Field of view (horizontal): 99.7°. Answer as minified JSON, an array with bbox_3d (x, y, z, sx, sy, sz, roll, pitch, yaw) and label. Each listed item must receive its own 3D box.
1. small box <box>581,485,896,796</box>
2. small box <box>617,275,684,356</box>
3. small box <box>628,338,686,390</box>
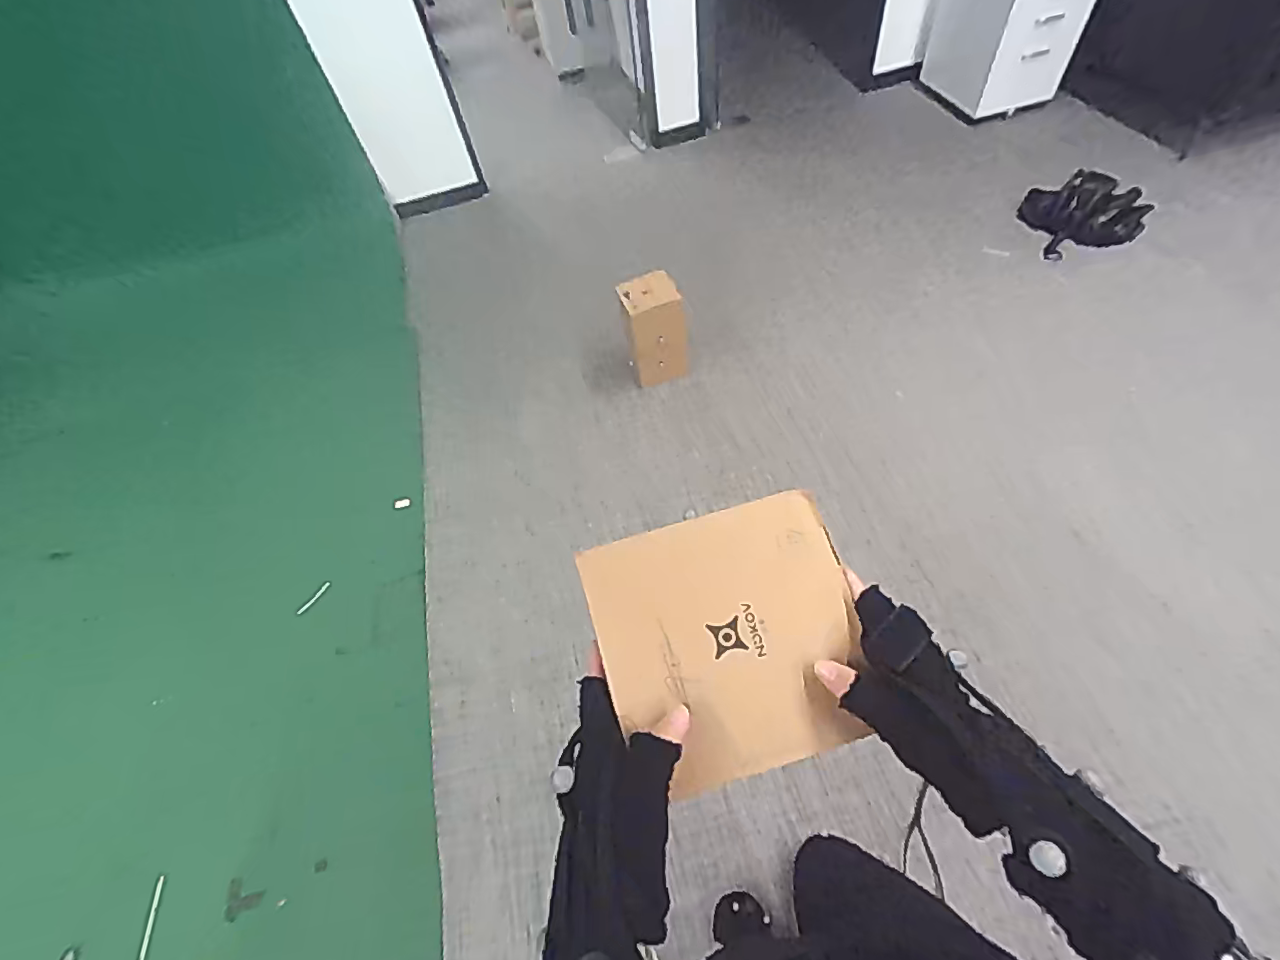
[{"bbox_3d":[0.063,0.122,0.440,0.179,0.176,0.168,-17,73,-3],"label":"small box"},{"bbox_3d":[0.039,-0.540,1.789,0.179,0.176,0.168,-19,56,-5],"label":"small box"},{"bbox_3d":[0.060,-0.452,1.925,0.179,0.176,0.168,-18,55,-2],"label":"small box"}]
